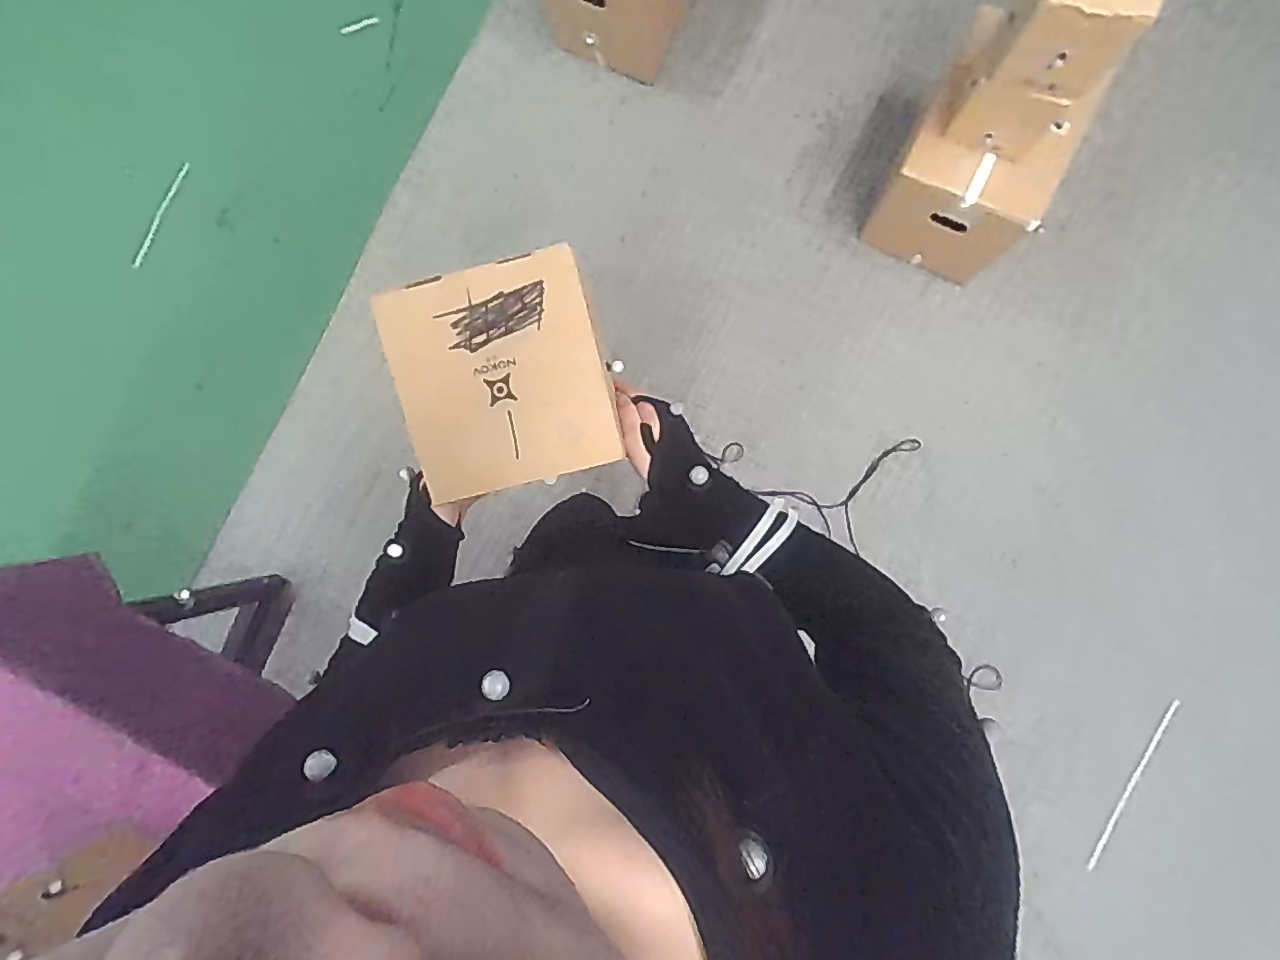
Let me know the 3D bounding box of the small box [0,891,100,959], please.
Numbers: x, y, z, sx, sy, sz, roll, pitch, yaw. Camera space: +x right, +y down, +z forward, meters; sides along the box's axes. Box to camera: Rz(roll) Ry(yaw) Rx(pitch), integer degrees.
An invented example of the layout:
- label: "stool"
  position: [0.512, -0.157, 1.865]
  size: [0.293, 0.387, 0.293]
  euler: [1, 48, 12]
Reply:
- label: "small box"
  position: [-0.775, 0.625, 0.601]
  size: [0.168, 0.176, 0.179]
  euler: [24, 91, 5]

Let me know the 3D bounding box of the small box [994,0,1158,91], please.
- label: "small box"
  position: [0.729, -0.797, 0.897]
  size: [0.168, 0.176, 0.179]
  euler: [18, 91, 7]

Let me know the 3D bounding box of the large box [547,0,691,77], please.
- label: "large box"
  position: [-0.030, -1.376, 1.393]
  size: [0.320, 0.320, 0.408]
  euler: [27, 90, 6]
